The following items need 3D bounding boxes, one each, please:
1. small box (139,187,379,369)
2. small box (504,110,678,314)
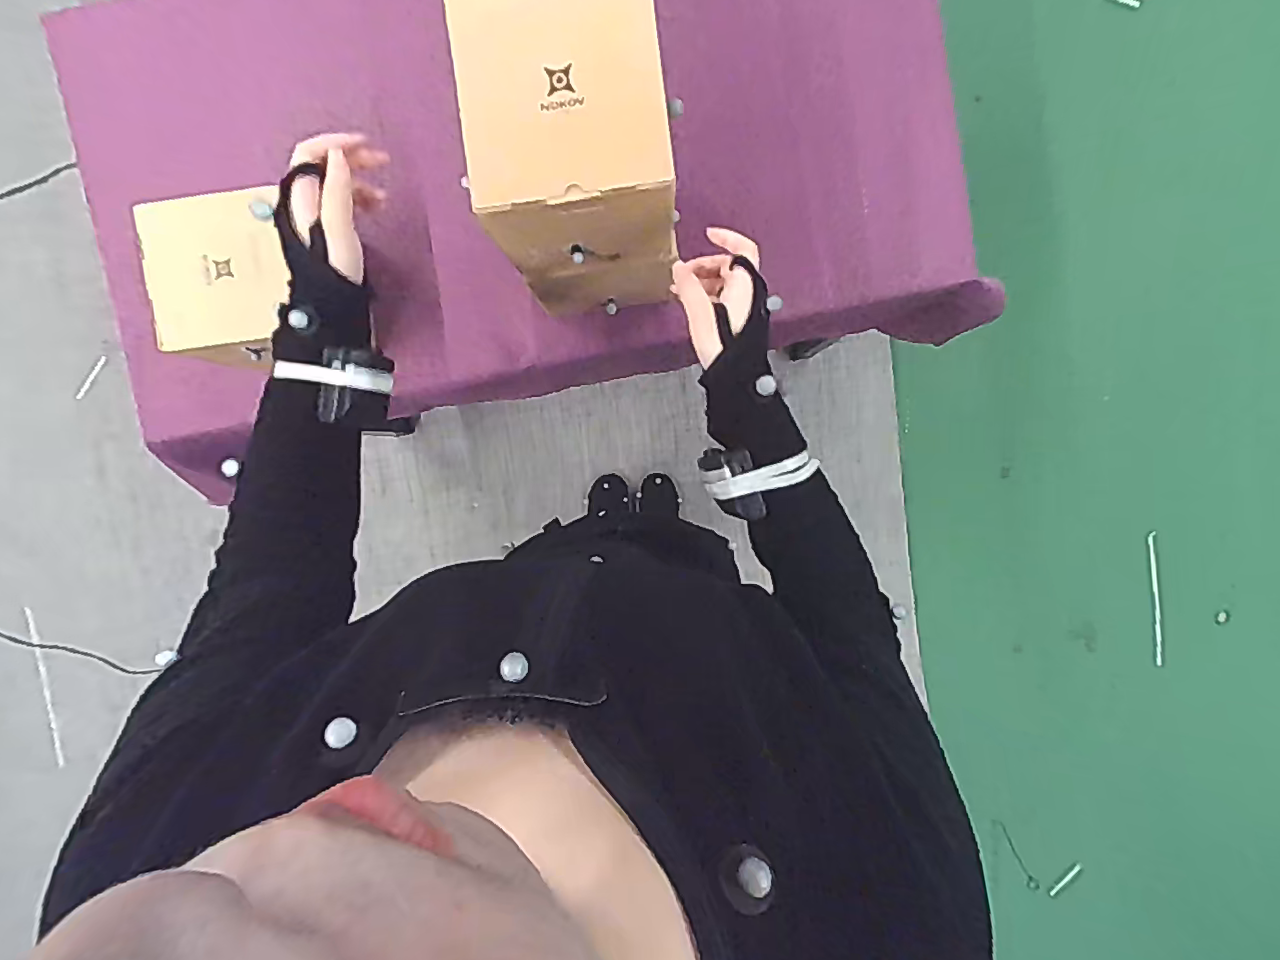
[{"bbox_3d":[-0.468,-0.242,0.690,0.179,0.176,0.168,-7,94,1],"label":"small box"},{"bbox_3d":[-0.054,-0.319,0.677,0.179,0.176,0.168,-8,93,1],"label":"small box"}]
